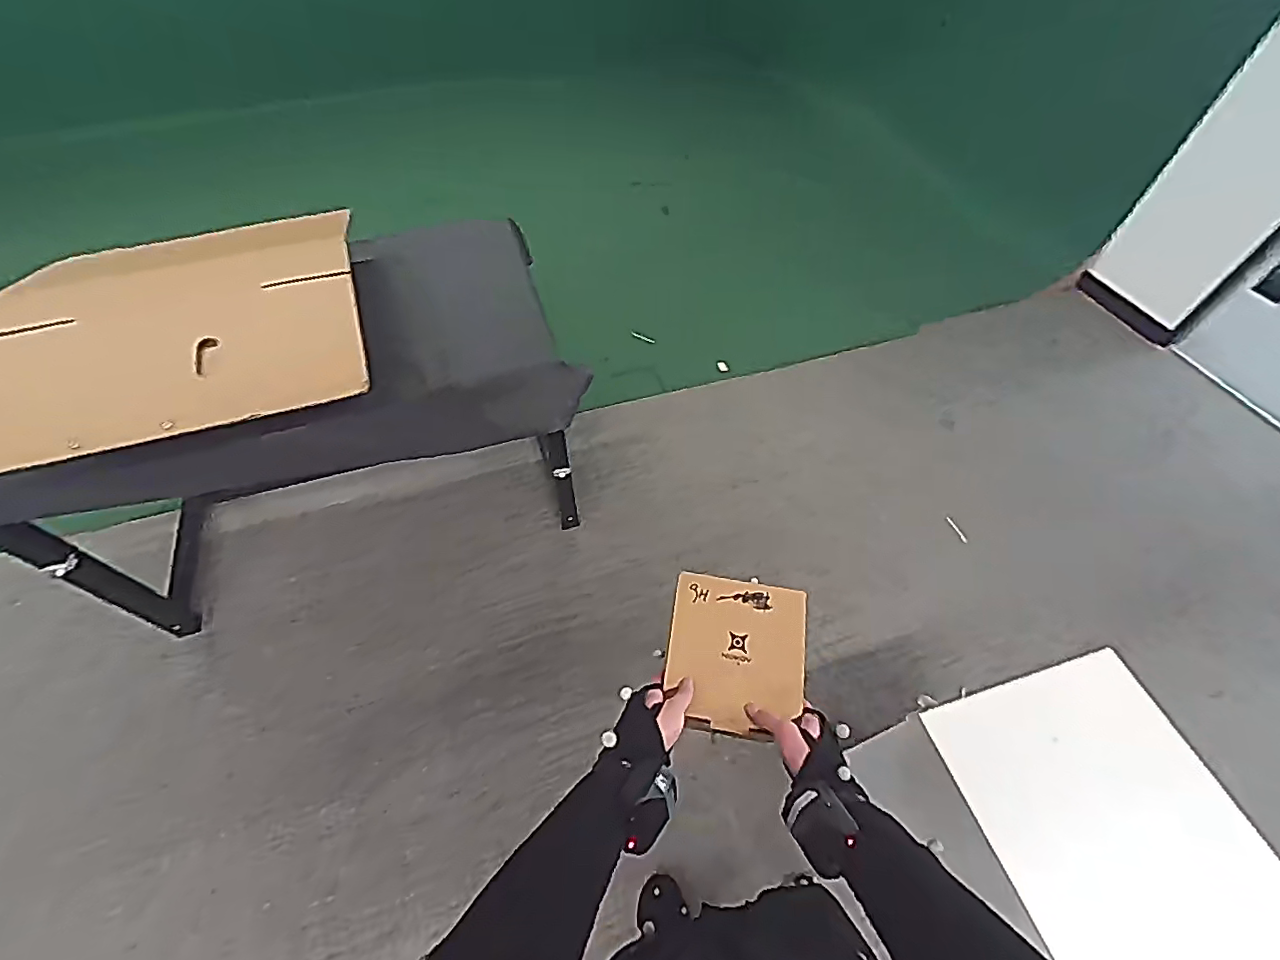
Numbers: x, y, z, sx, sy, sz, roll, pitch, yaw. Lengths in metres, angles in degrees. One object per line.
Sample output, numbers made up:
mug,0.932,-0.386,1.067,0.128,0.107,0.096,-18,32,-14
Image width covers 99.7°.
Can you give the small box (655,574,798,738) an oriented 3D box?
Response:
small box,0.112,0.245,0.736,0.168,0.176,0.179,7,62,3
